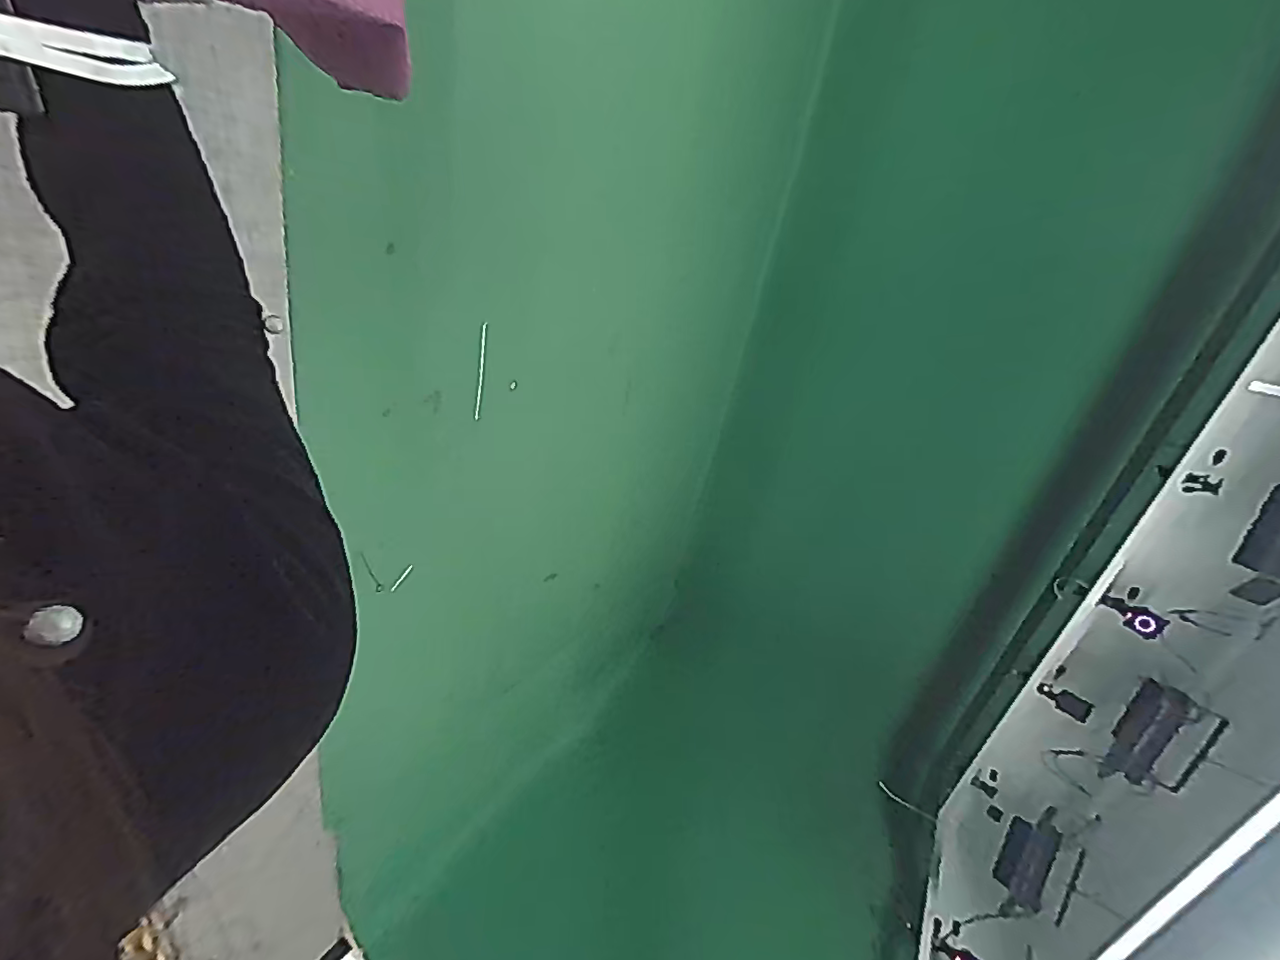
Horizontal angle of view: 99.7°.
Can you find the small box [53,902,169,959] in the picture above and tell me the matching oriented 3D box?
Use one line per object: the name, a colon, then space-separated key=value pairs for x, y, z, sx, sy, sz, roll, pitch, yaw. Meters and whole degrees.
small box: x=-1.250 y=1.166 z=1.275 sx=0.179 sy=0.176 sz=0.168 roll=-27 pitch=138 yaw=-53
